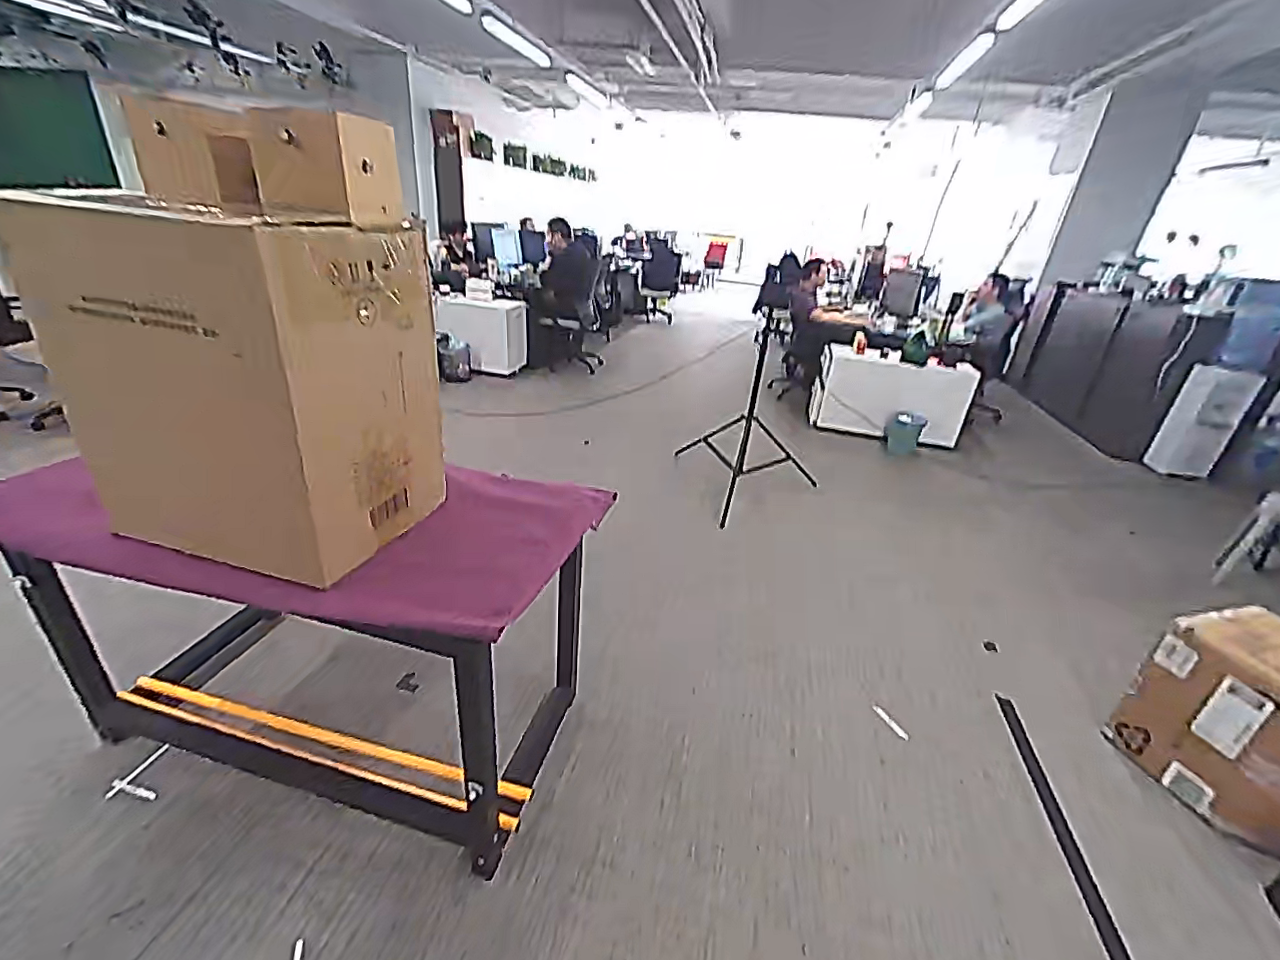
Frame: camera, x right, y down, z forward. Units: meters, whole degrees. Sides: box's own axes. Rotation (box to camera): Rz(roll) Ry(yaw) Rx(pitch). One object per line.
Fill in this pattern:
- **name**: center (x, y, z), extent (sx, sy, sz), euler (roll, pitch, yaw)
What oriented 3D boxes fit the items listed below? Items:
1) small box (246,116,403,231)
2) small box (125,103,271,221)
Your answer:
- **small box**: center (-0.562, -0.552, 0.991), extent (0.179, 0.176, 0.168), euler (7, 26, 8)
- **small box**: center (-0.800, -0.593, 1.025), extent (0.179, 0.176, 0.168), euler (12, 28, 9)
